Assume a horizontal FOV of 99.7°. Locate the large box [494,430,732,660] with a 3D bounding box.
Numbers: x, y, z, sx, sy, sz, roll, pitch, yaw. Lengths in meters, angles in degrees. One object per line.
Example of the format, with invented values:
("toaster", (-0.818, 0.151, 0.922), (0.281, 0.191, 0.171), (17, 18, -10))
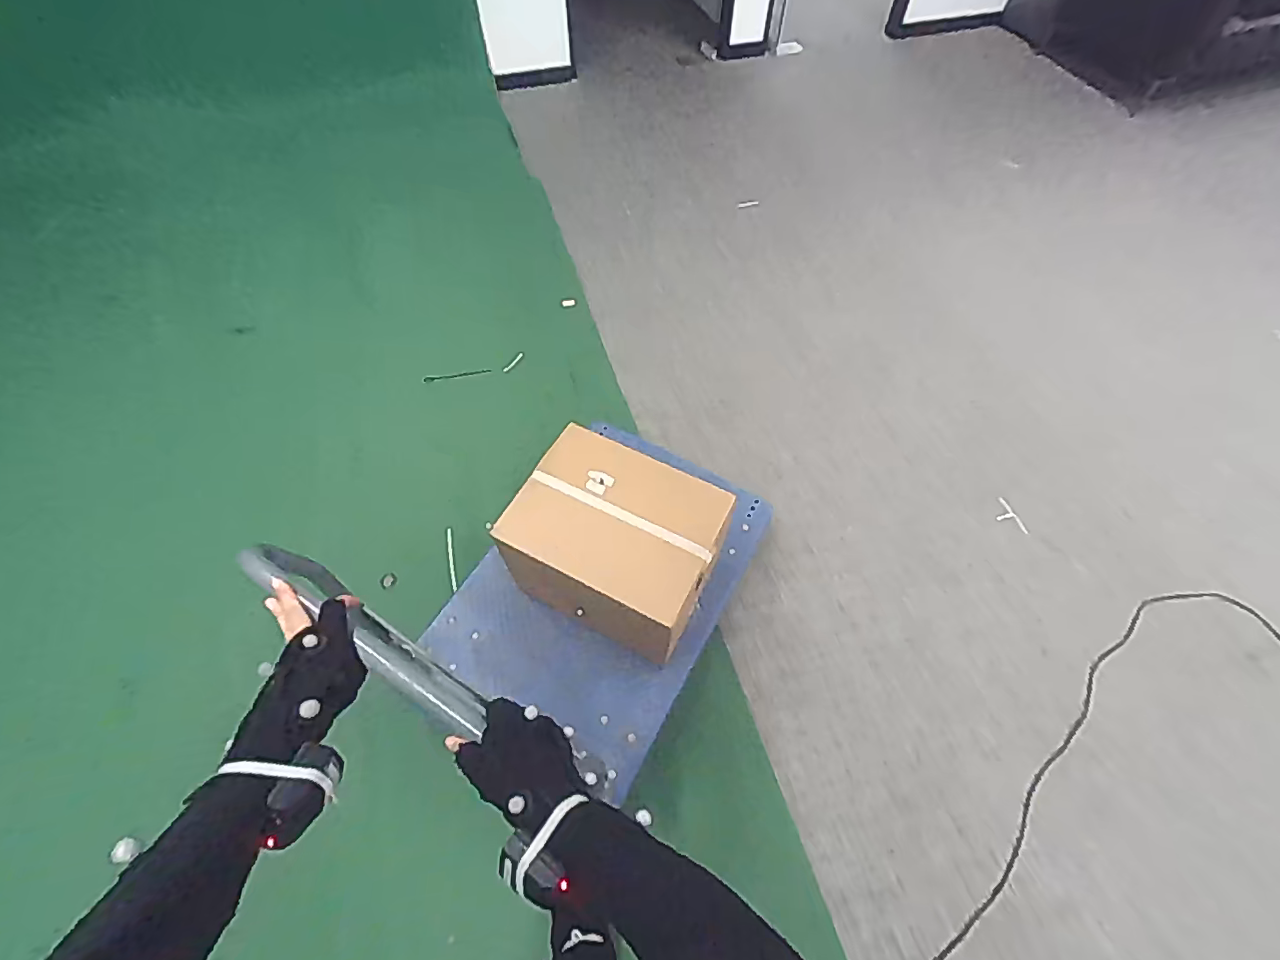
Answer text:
("large box", (-0.047, 0.154, 1.226), (0.408, 0.320, 0.320), (24, 61, 14))
